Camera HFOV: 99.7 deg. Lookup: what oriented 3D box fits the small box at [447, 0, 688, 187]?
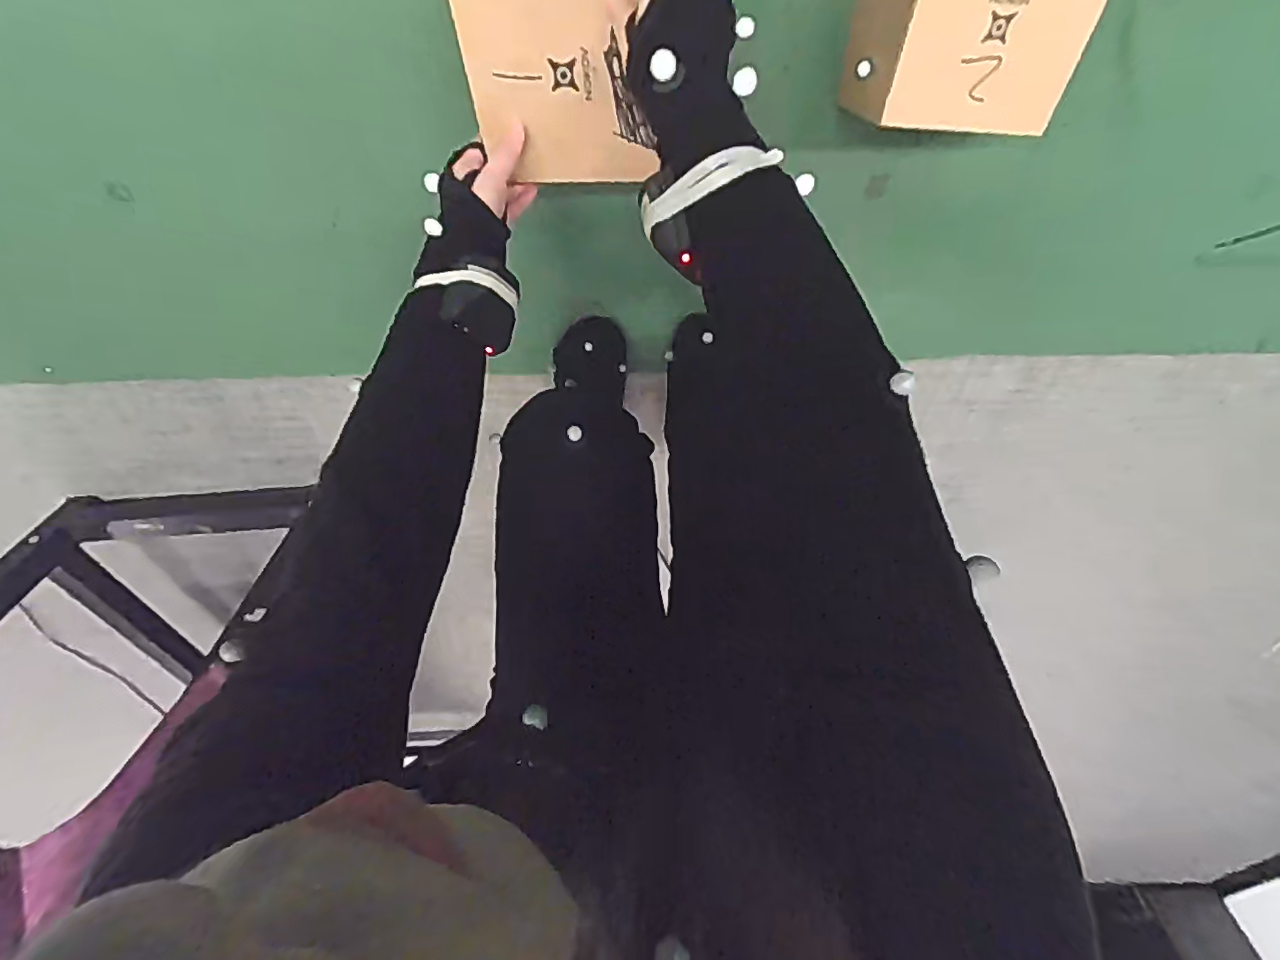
[{"bbox_3d":[-0.050,-0.384,0.475,0.179,0.176,0.168,2,146,3],"label":"small box"}]
